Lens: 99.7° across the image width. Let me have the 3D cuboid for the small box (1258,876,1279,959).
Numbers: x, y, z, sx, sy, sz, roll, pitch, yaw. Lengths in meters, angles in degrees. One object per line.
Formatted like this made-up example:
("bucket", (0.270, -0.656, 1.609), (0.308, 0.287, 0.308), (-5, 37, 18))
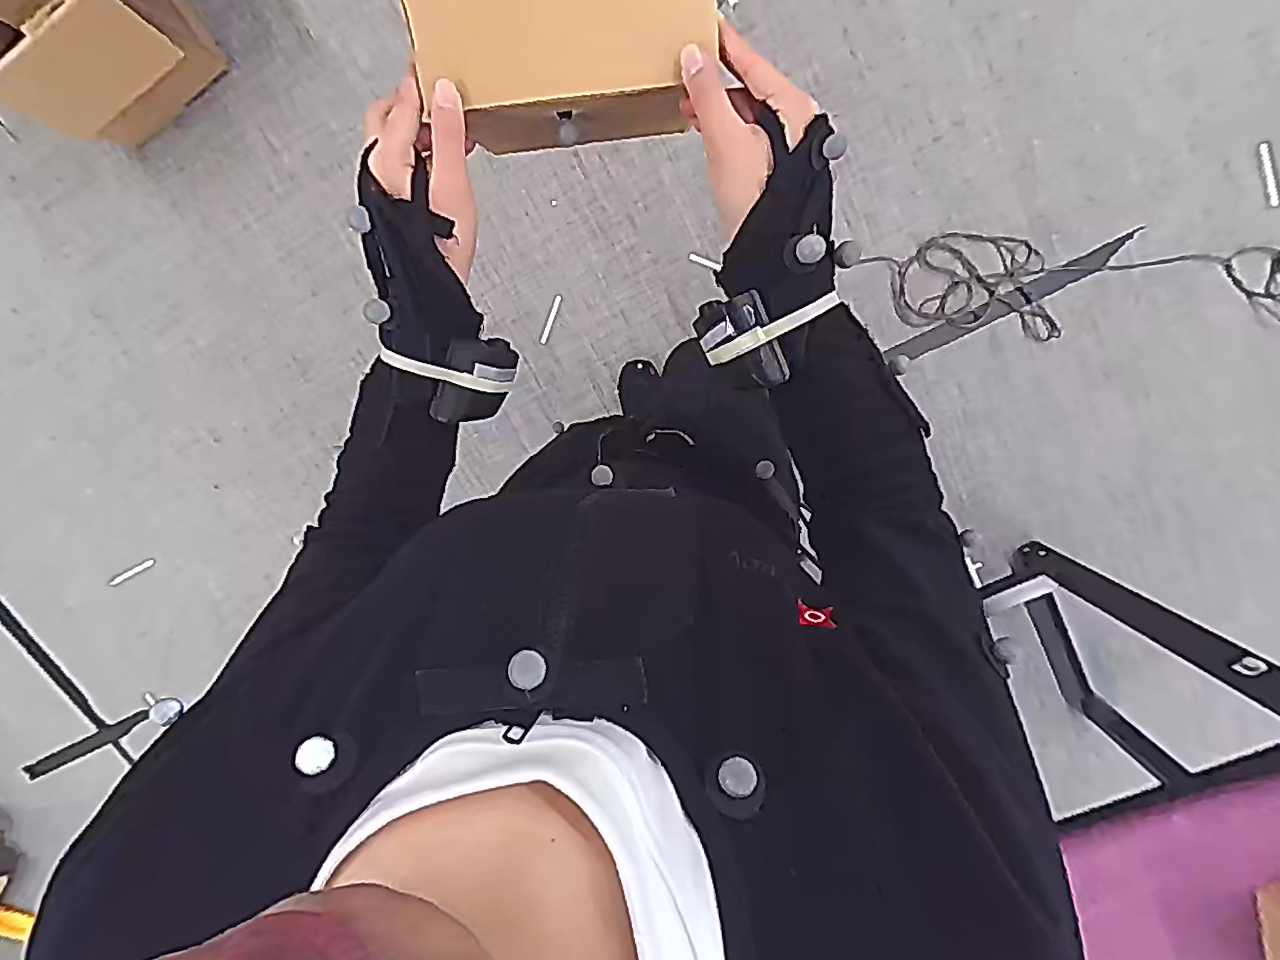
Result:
("small box", (0.957, 0.631, 0.682), (0.168, 0.176, 0.179), (-19, 102, 6))

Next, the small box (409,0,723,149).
("small box", (-0.046, -0.332, 0.358), (0.179, 0.176, 0.168), (-5, 114, 2))
